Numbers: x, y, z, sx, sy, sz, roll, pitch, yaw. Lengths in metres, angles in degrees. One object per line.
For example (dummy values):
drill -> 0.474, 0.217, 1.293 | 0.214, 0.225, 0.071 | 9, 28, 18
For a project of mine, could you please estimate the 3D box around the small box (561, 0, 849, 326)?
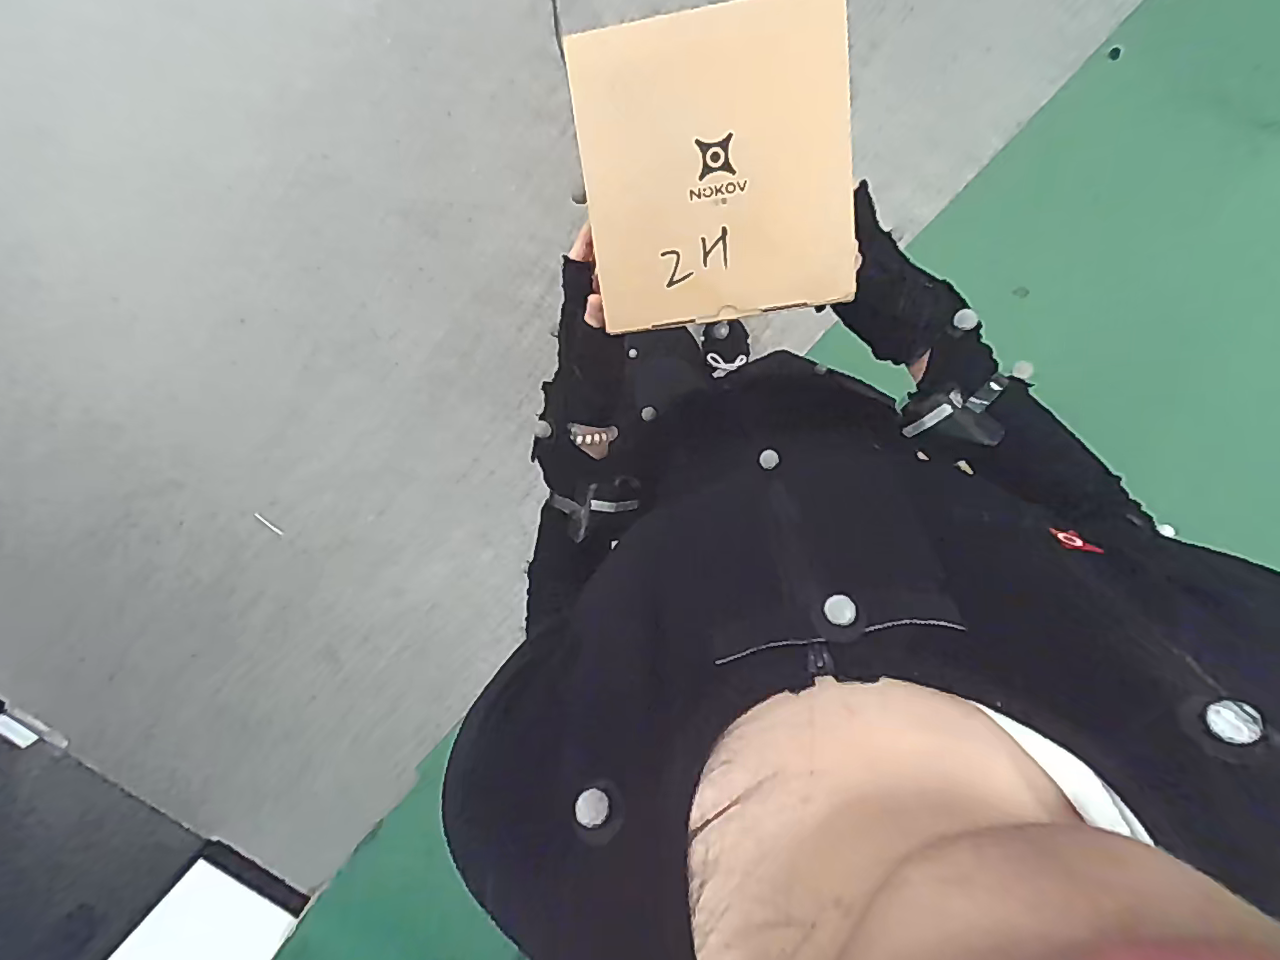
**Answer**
small box -> 0.049, -0.216, 0.409 | 0.168, 0.176, 0.179 | -6, 105, 7
